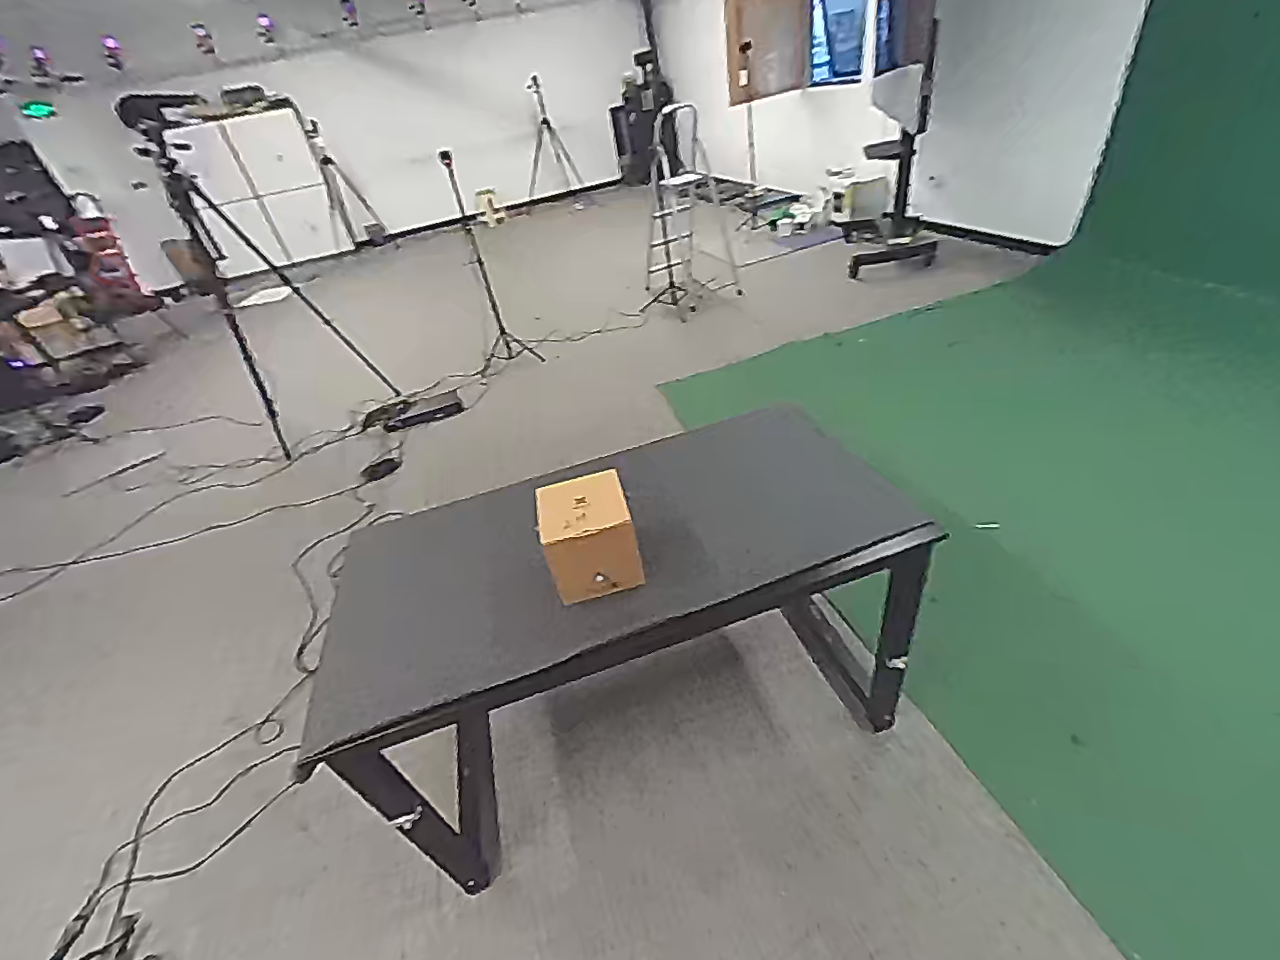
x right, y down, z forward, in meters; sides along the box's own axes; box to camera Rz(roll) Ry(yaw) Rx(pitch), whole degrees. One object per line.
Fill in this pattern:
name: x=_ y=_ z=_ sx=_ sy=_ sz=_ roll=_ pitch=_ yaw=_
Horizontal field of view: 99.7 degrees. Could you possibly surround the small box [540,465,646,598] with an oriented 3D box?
small box: x=-0.093 y=0.100 z=1.063 sx=0.168 sy=0.176 sz=0.179 roll=-15 pitch=36 yaw=-4
